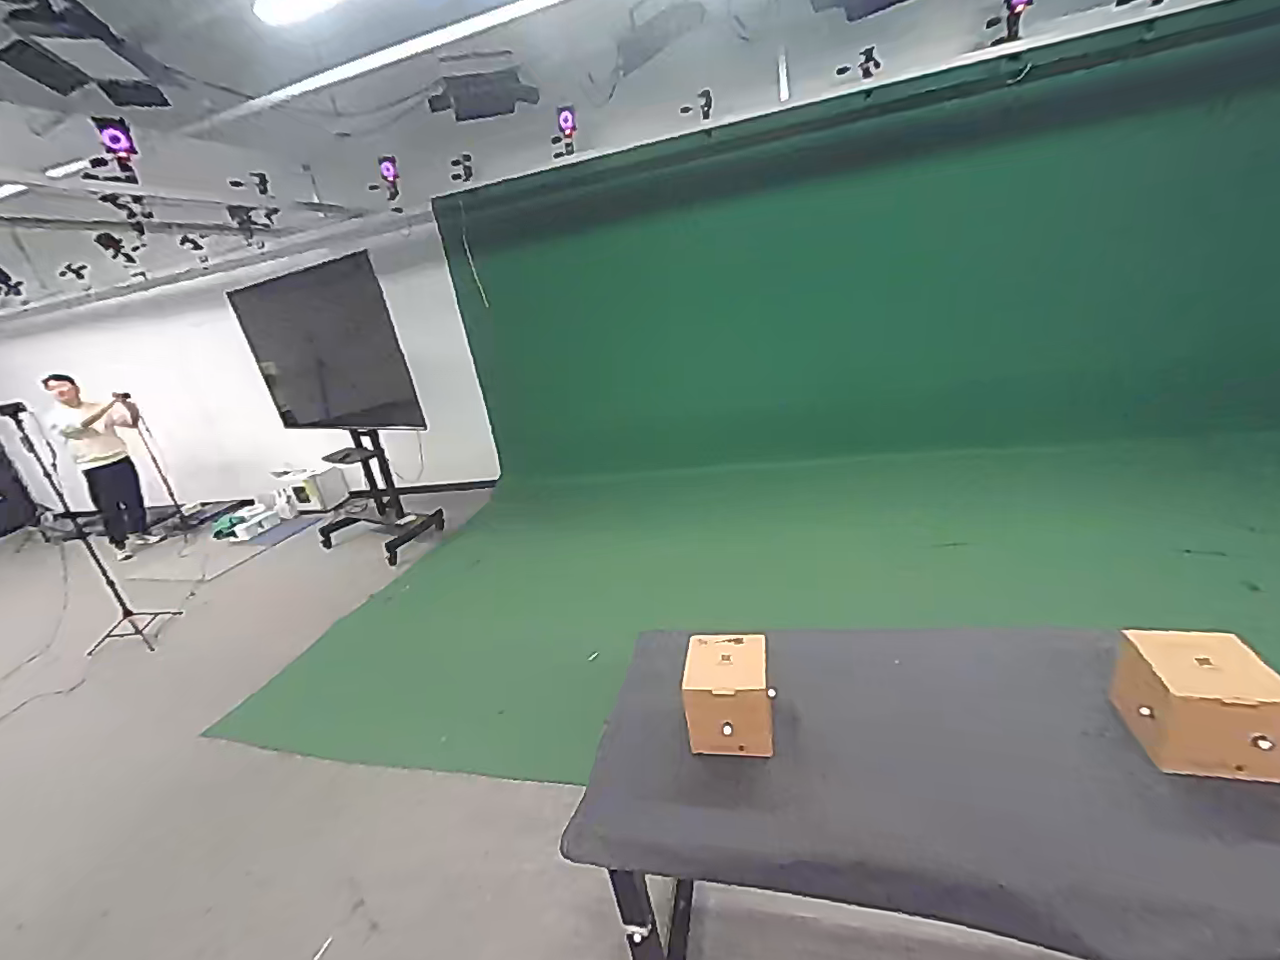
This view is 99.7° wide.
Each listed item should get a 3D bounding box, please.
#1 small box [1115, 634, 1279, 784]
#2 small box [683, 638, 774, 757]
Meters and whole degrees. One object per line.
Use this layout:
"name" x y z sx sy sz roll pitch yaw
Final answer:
"small box" 0.972 0.391 0.940 0.168 0.176 0.179 -2 20 18
"small box" 0.194 0.458 1.146 0.168 0.176 0.179 -4 20 14
